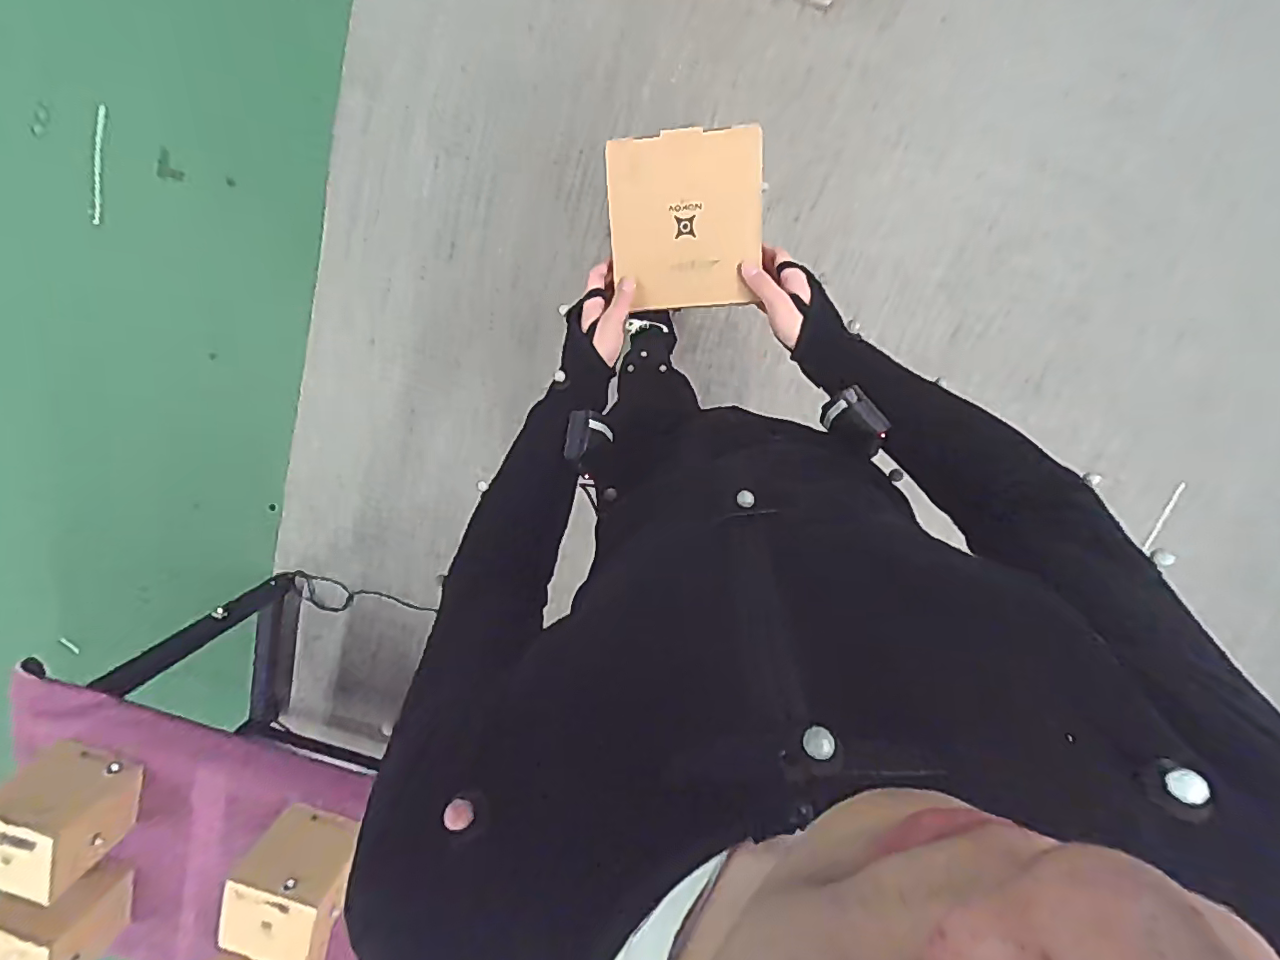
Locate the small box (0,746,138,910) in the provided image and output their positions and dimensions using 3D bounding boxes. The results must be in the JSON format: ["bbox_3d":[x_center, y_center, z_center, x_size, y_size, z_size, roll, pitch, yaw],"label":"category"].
[{"bbox_3d":[-1.104,0.644,1.018,0.168,0.176,0.179,21,107,-3],"label":"small box"}]

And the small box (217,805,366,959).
[{"bbox_3d":[-0.648,0.766,1.020,0.168,0.176,0.179,18,107,-2],"label":"small box"}]

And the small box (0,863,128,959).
[{"bbox_3d":[-1.195,0.911,1.094,0.168,0.176,0.179,18,104,-2],"label":"small box"}]
